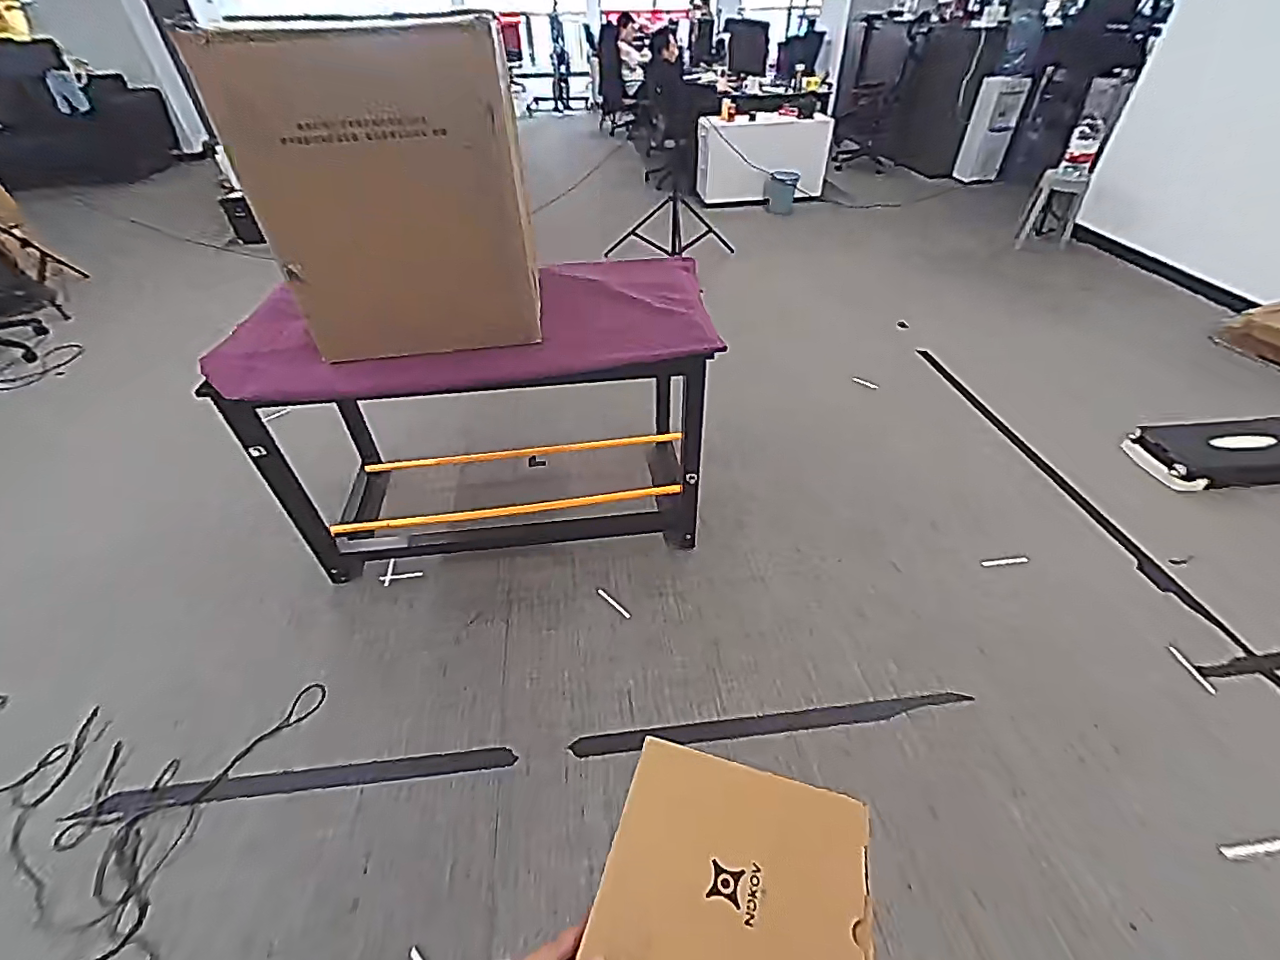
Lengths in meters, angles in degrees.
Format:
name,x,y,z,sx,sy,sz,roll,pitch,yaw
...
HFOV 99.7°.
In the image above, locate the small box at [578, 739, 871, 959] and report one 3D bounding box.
name,x,y,z,sx,sy,sz,roll,pitch,yaw
small box,0.068,0.339,0.415,0.179,0.176,0.168,10,39,15
